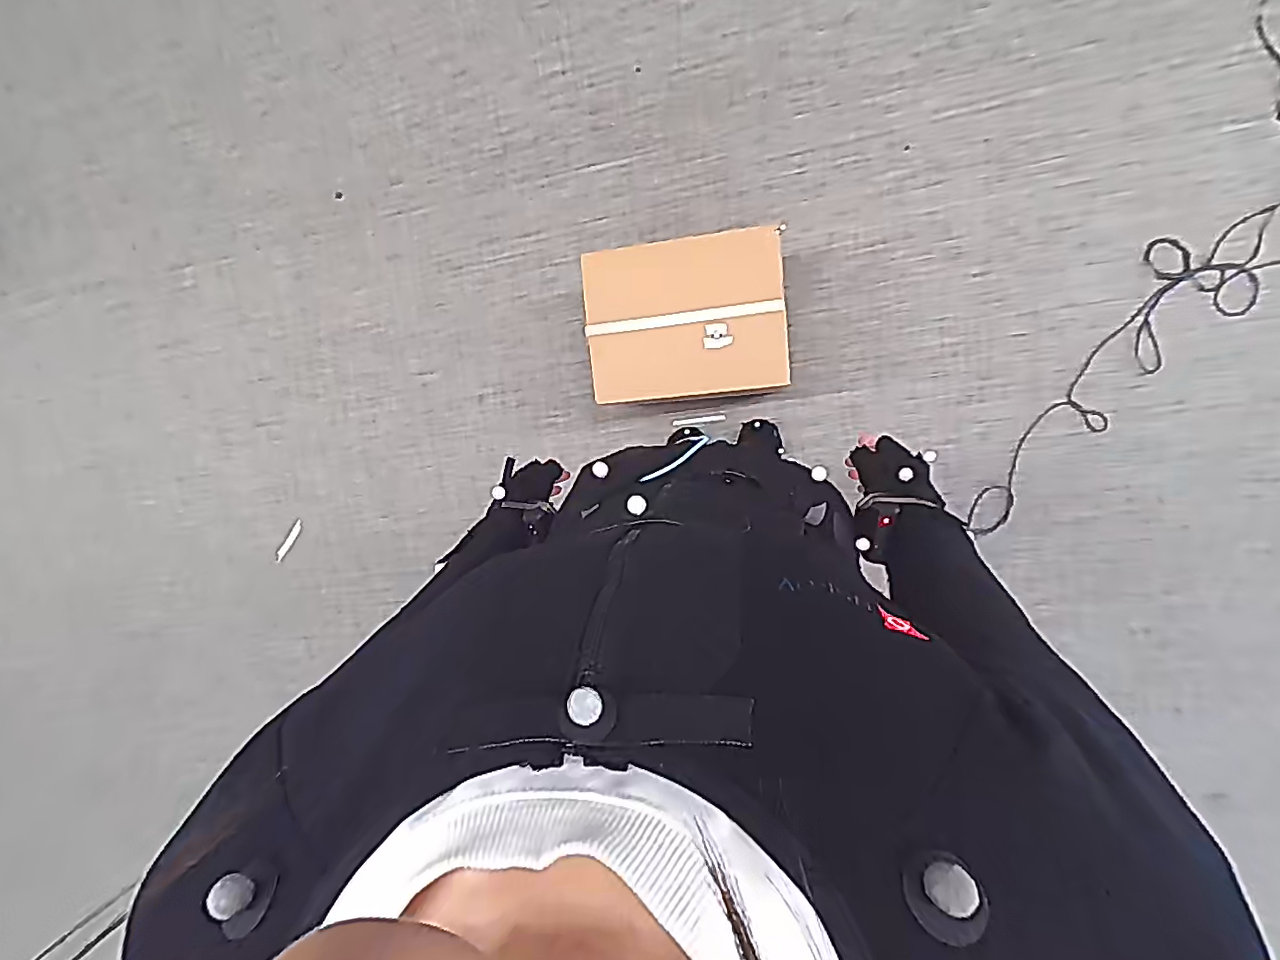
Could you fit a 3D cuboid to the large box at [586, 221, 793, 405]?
[{"bbox_3d":[0.120,-0.352,1.246,0.408,0.320,0.320,-5,97,10],"label":"large box"}]
